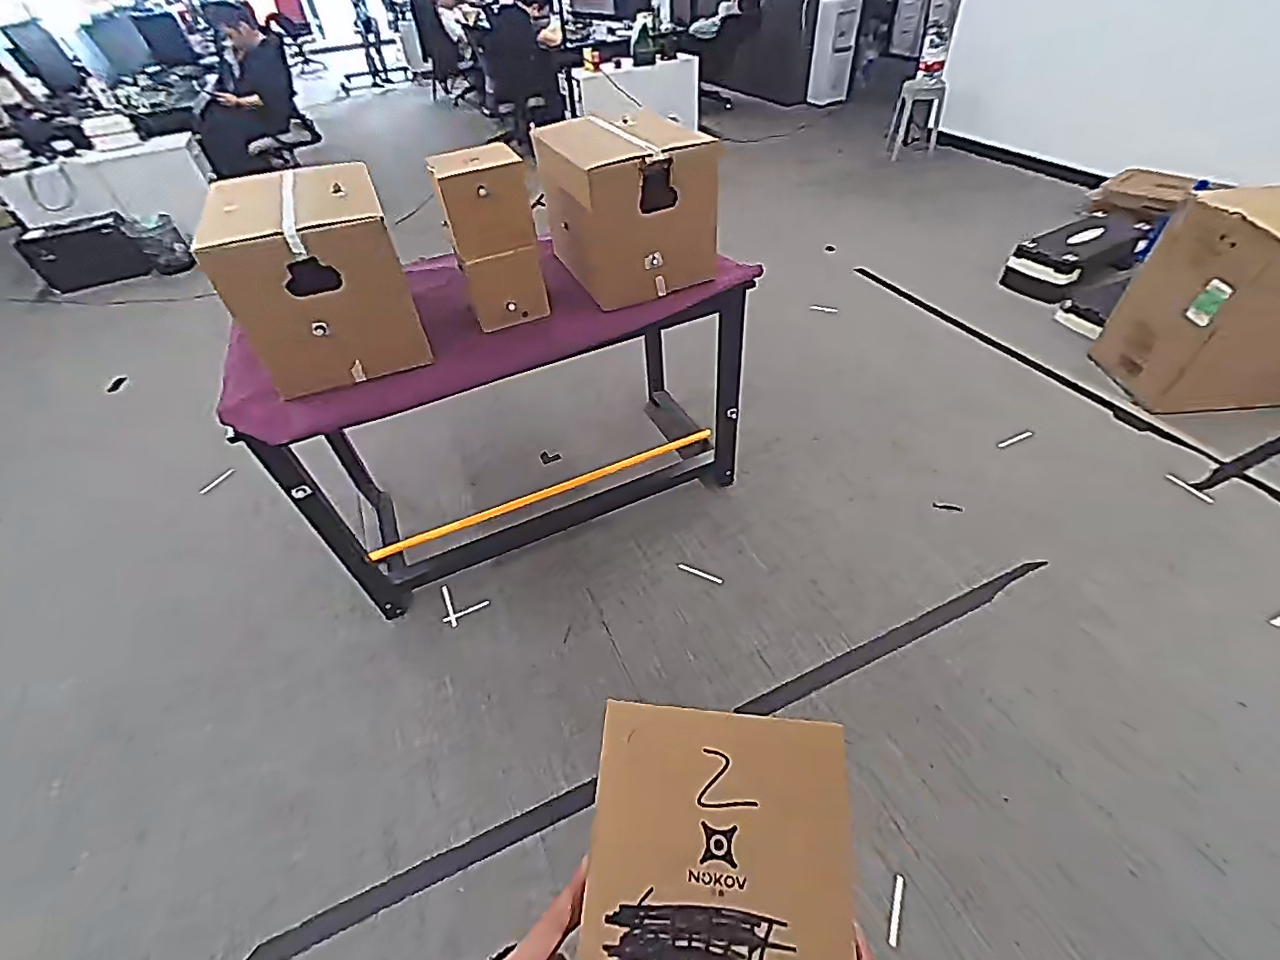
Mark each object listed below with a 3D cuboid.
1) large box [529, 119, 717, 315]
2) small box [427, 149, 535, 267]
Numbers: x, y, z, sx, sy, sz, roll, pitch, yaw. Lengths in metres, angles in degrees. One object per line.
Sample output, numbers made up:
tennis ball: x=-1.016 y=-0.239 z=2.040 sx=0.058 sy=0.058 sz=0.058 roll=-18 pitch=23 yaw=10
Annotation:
large box: x=-0.039 y=-0.664 z=1.350 sx=0.320 sy=0.320 sz=0.408 roll=-21 pitch=46 yaw=-15
small box: x=-0.337 y=-0.591 z=1.175 sx=0.179 sy=0.176 sz=0.168 roll=-21 pitch=47 yaw=-13
